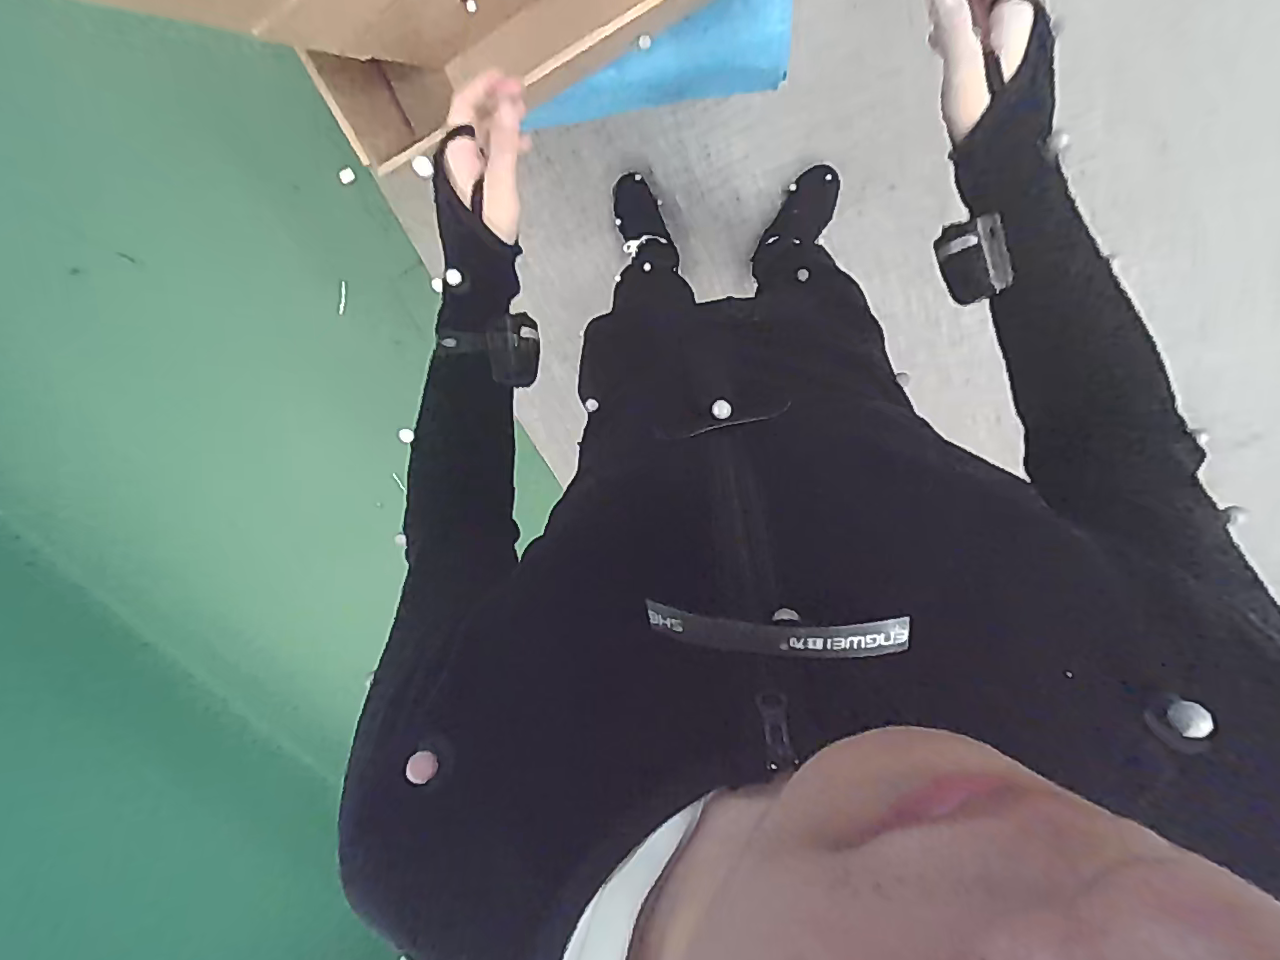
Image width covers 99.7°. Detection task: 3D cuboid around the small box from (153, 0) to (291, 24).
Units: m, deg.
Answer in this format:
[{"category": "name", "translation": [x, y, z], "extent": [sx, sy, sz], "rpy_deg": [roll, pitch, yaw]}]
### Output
[{"category": "small box", "translation": [-0.320, -0.449, 0.359], "extent": [0.179, 0.176, 0.168], "rpy_deg": [-14, 118, 21]}]

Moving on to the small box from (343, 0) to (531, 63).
[{"category": "small box", "translation": [-0.251, -0.624, 0.629], "extent": [0.179, 0.176, 0.168], "rpy_deg": [-16, 117, 22]}]
